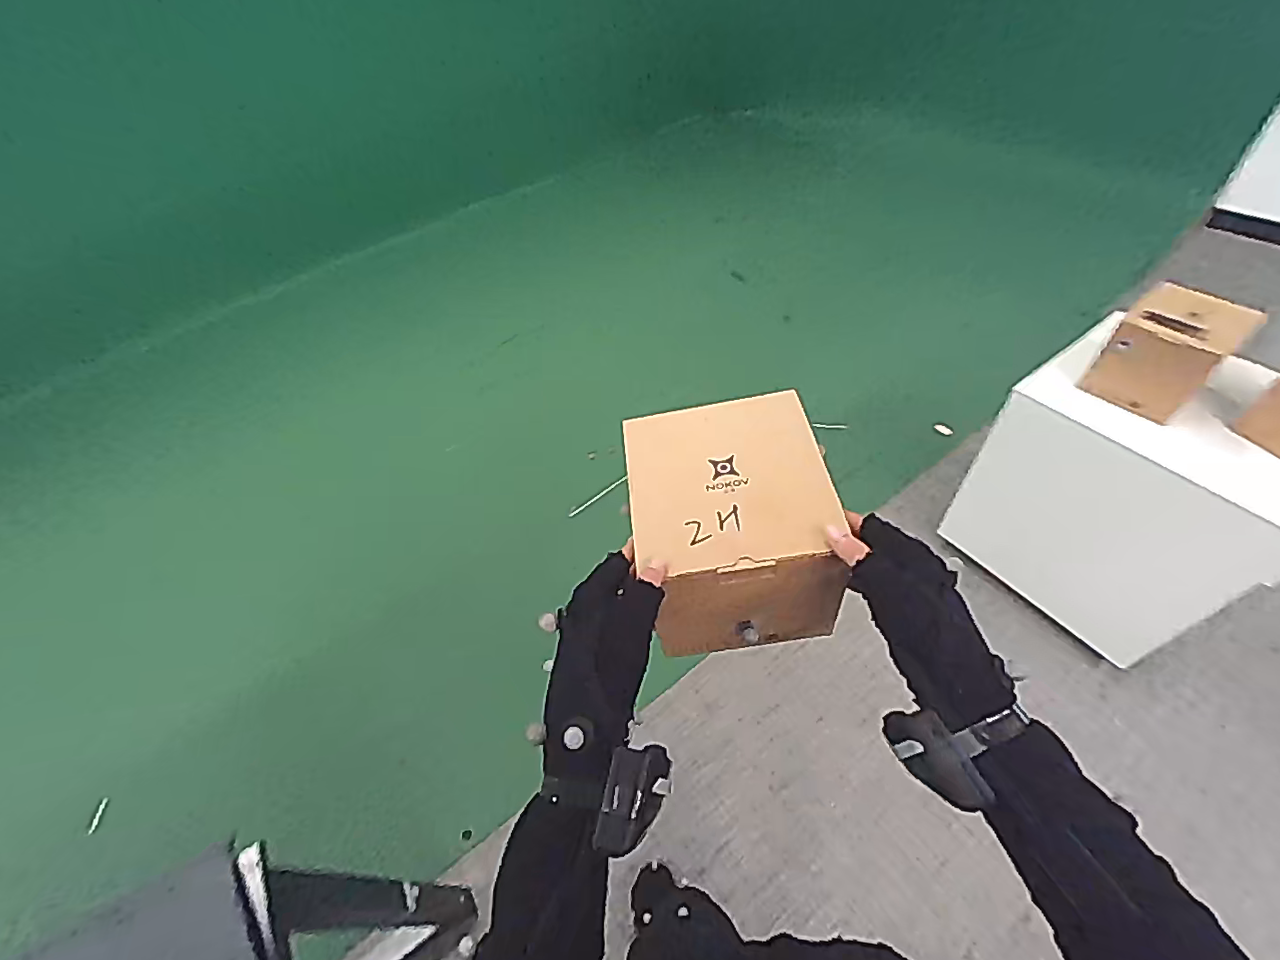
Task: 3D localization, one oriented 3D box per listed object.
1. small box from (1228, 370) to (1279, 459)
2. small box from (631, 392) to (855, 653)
[{"bbox_3d":[1.194,-0.124,0.919,0.168,0.176,0.179,-22,50,-8],"label":"small box"},{"bbox_3d":[0.088,0.045,0.521,0.168,0.176,0.179,-9,51,6],"label":"small box"}]
